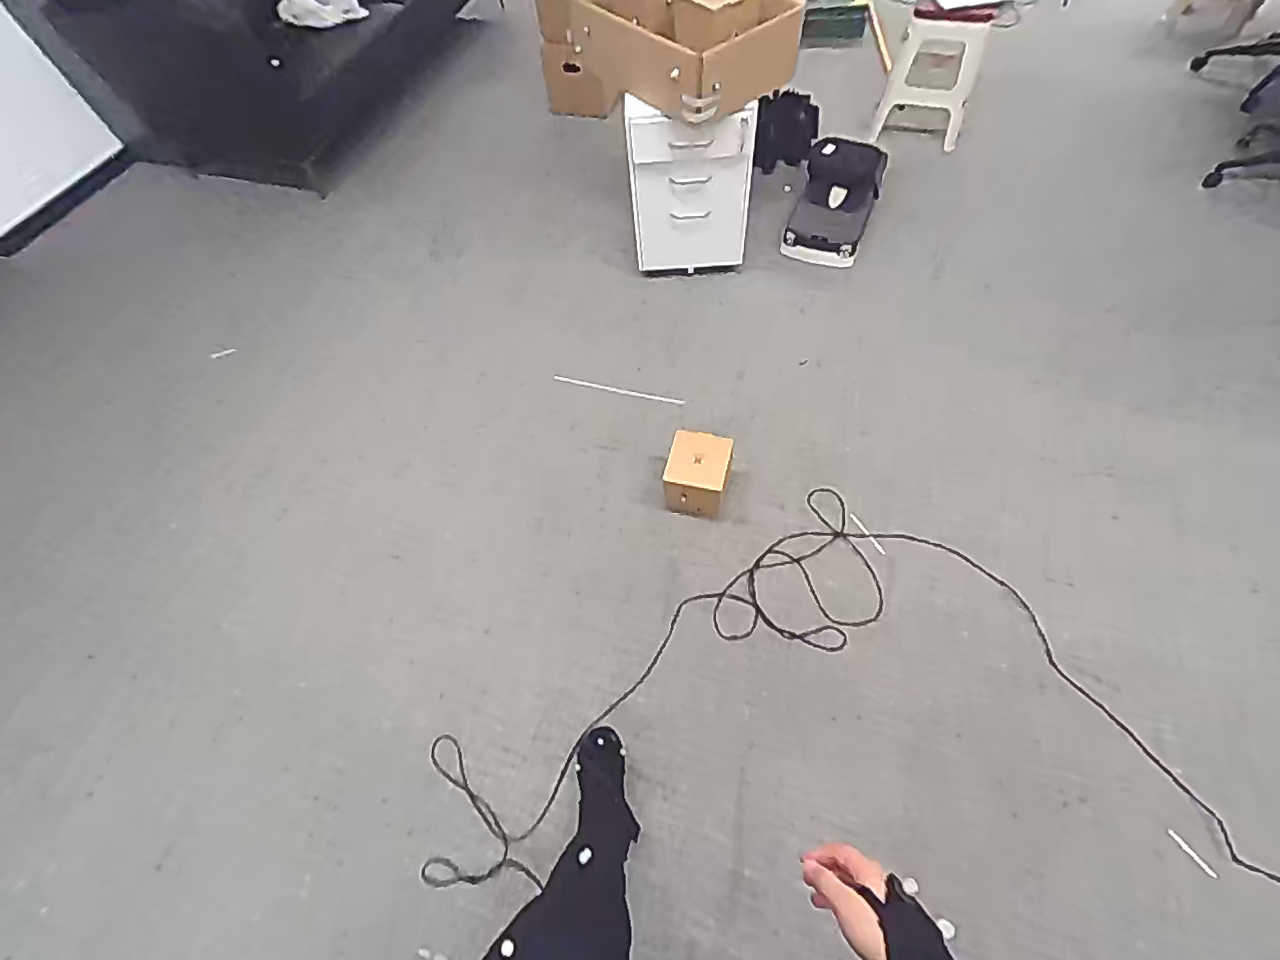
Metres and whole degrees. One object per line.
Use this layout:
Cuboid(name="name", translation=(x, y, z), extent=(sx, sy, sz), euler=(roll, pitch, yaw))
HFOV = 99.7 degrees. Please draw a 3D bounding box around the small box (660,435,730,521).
Cuboid(name="small box", translation=(0.163, -0.001, 1.564), extent=(0.168, 0.176, 0.179), euler=(11, 60, 12))
